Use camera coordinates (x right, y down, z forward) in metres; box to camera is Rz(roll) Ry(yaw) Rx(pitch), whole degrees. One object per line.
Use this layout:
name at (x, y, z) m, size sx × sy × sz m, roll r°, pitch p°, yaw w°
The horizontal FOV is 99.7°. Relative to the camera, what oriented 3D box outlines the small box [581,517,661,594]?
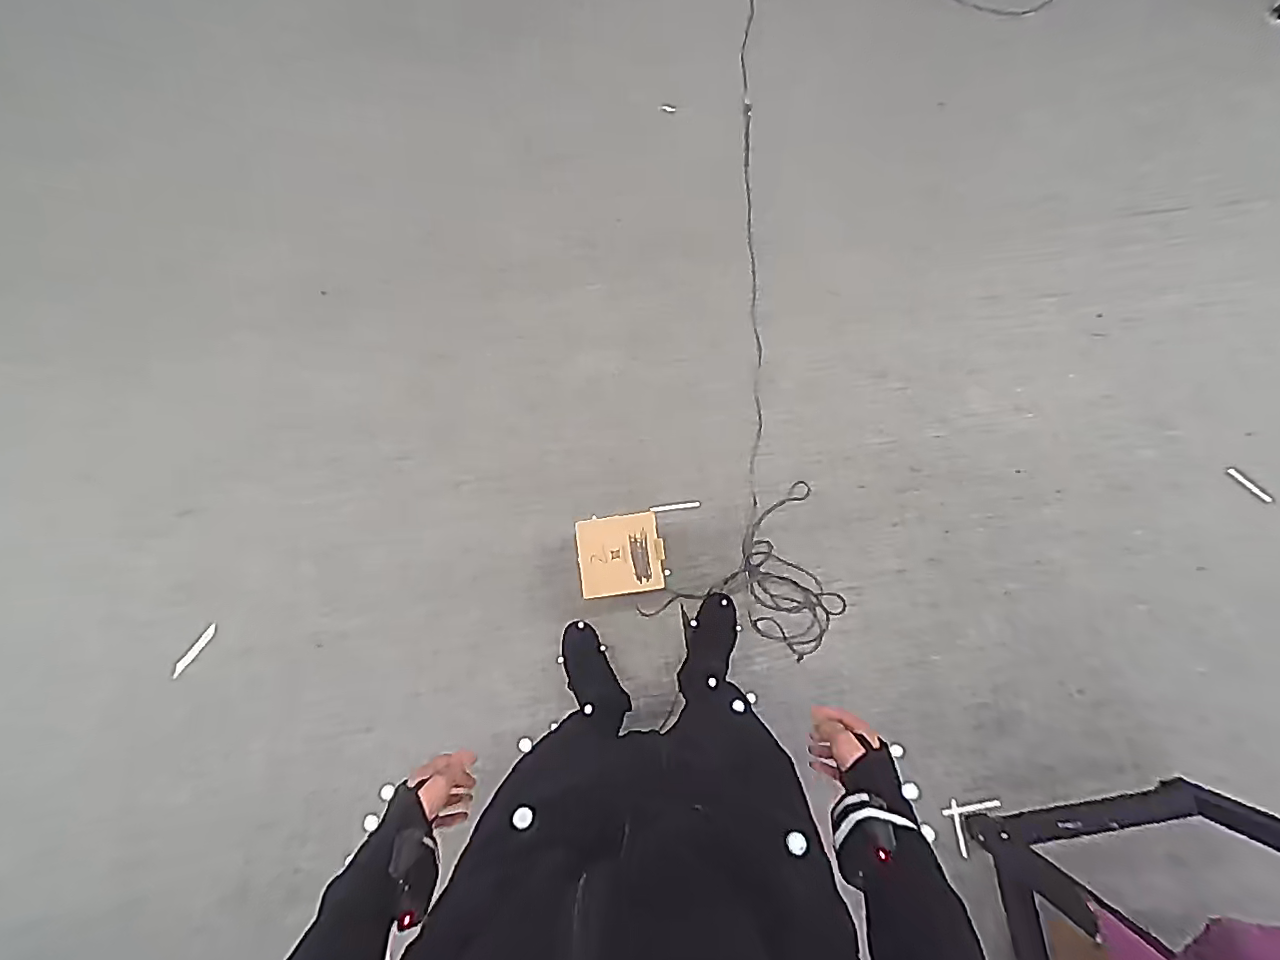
small box at (-0.045, 0.194, 1.376) m, size 0.179 × 0.176 × 0.168 m, roll -9°, pitch 82°, yaw -1°
